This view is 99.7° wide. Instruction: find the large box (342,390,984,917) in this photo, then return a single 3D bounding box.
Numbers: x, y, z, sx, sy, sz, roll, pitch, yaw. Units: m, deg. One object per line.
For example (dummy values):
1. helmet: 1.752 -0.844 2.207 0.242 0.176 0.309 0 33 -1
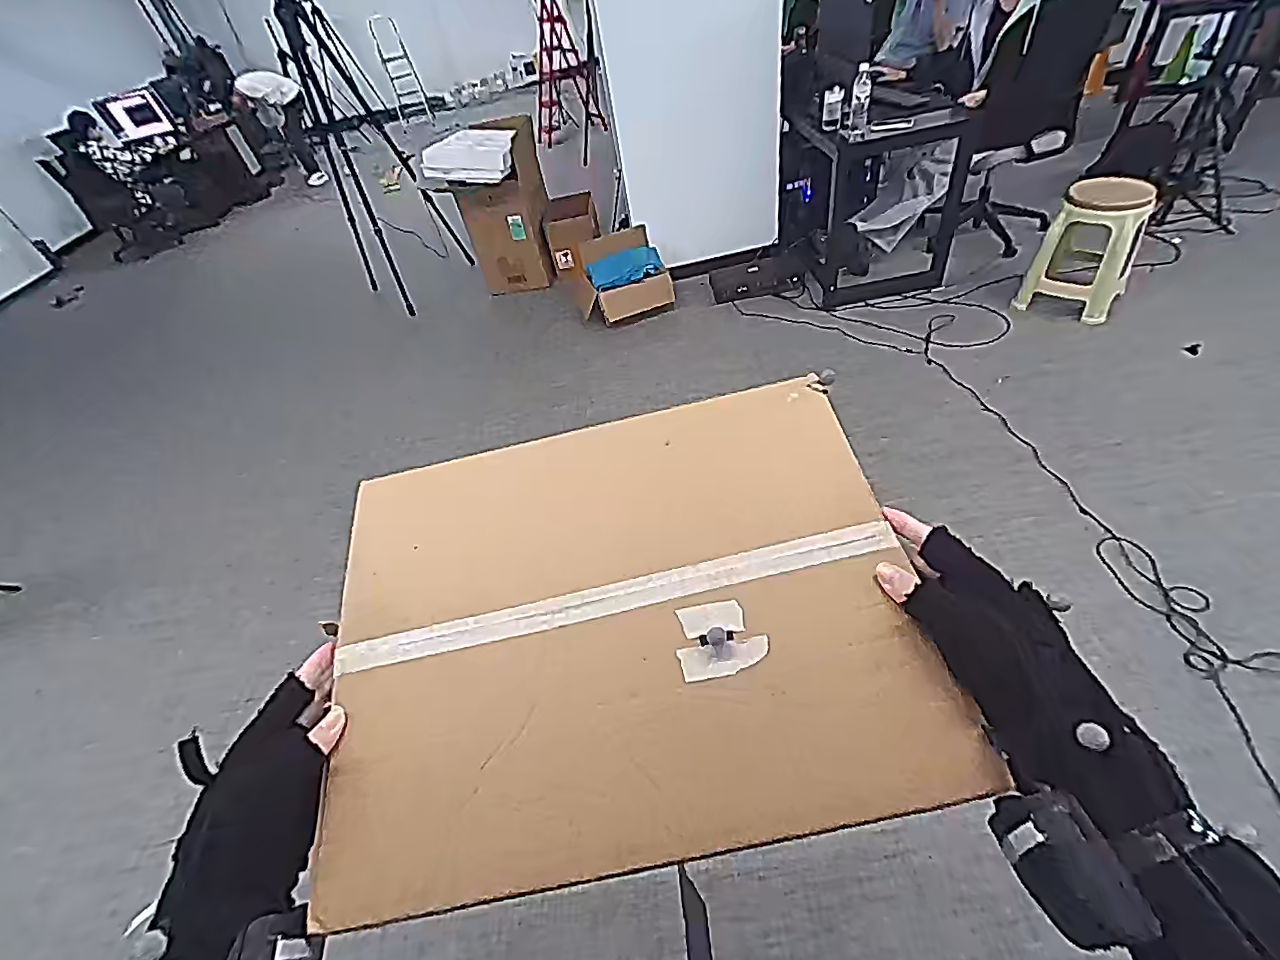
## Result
1. large box: 0.004 0.168 0.524 0.408 0.320 0.320 -13 58 1
